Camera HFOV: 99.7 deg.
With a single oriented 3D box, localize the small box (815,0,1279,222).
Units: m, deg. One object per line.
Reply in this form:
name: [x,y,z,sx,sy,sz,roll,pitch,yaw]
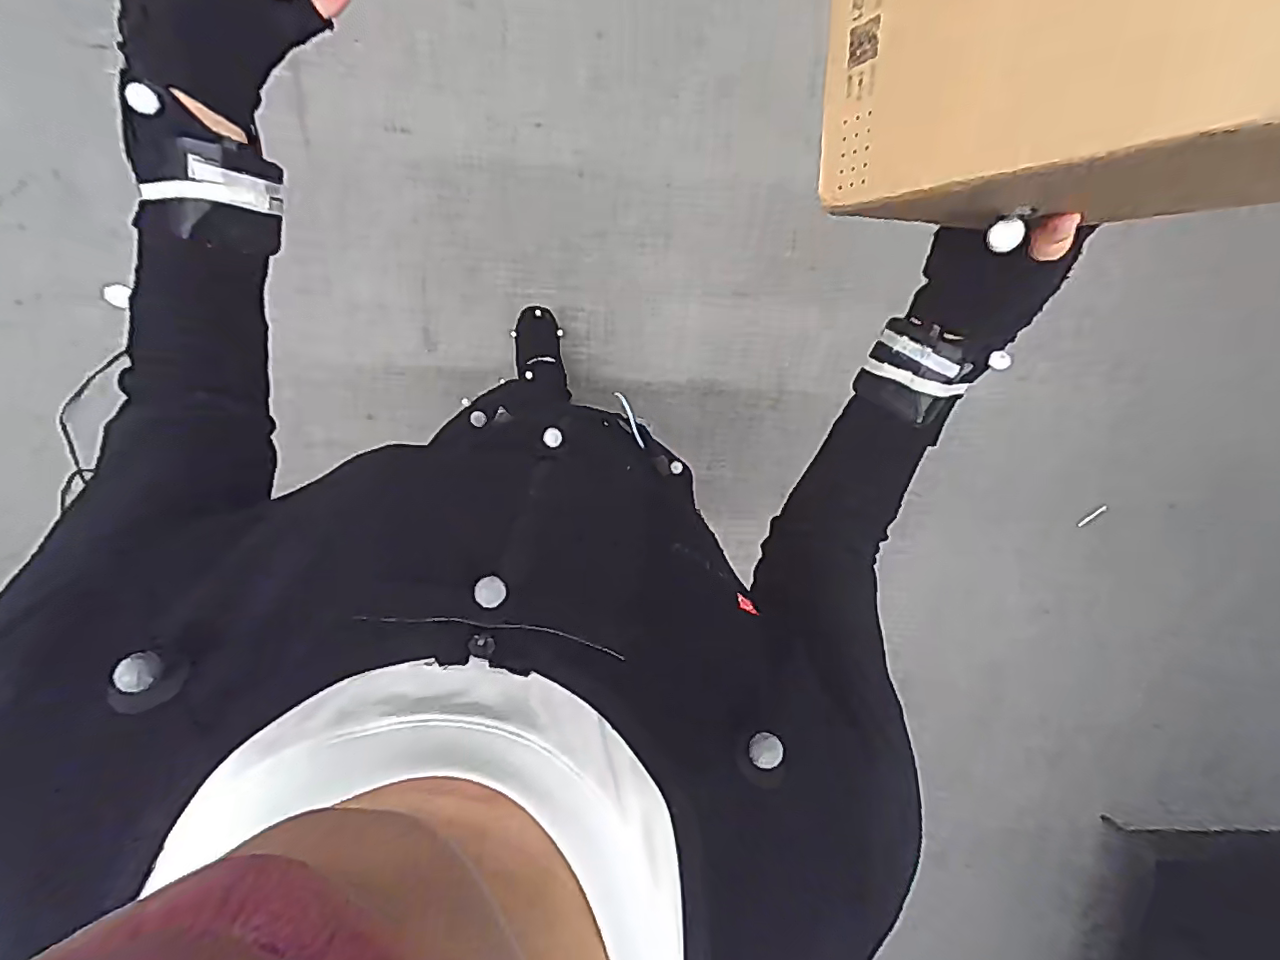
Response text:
small box: [0.195,-0.198,0.199,0.179,0.176,0.168,-11,110,-27]
